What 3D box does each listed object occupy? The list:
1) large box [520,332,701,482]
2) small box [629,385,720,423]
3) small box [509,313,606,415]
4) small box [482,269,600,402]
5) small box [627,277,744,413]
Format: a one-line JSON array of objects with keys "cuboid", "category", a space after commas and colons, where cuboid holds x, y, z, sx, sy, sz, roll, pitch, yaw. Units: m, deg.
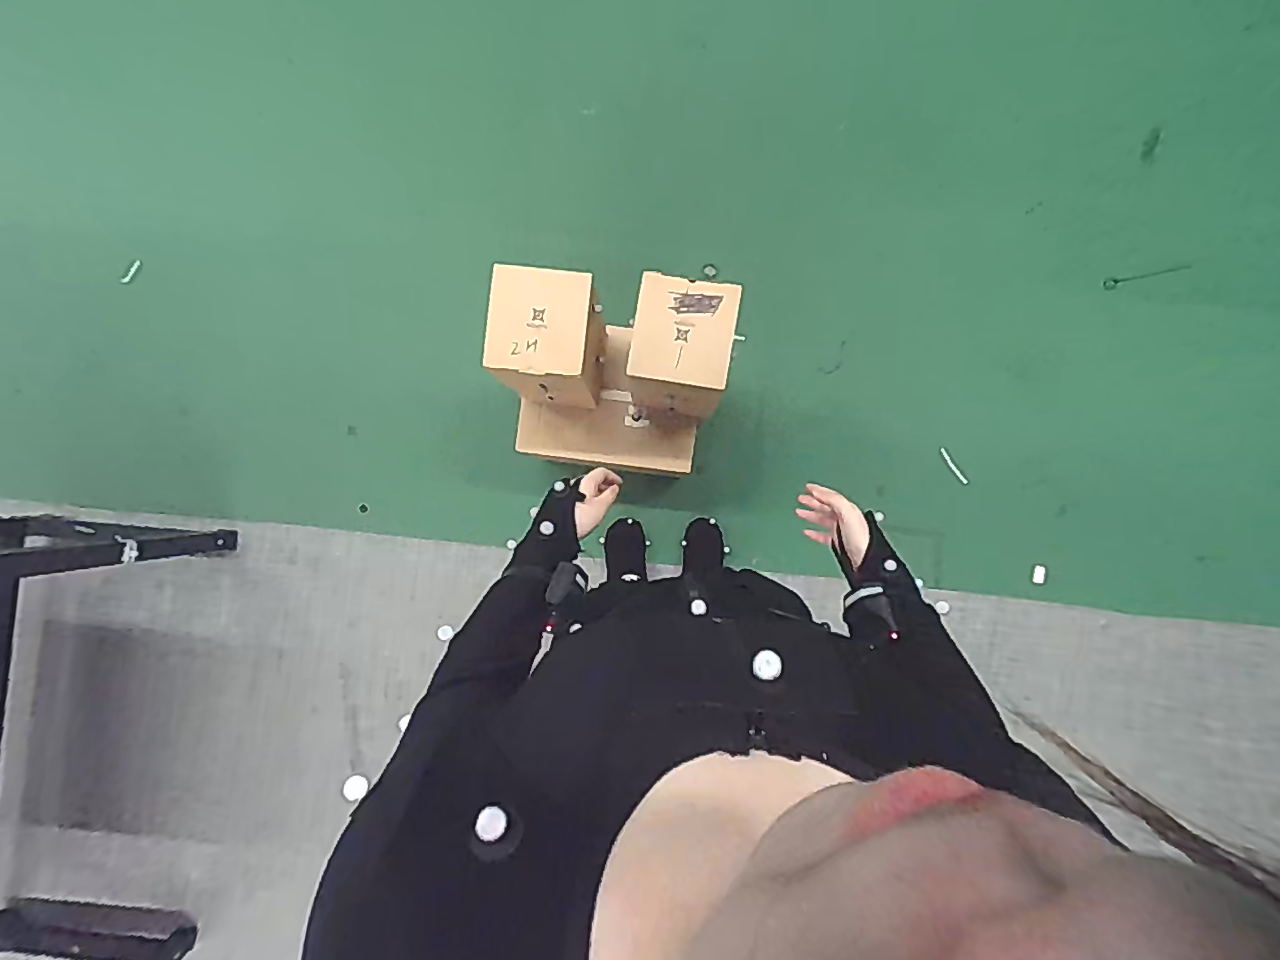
[{"cuboid": [-0.058, -0.172, 1.358, 0.408, 0.320, 0.320, 7, 89, 1], "category": "large box"}, {"cuboid": [0.084, -0.218, 1.112, 0.179, 0.176, 0.168, 11, 88, 4], "category": "small box"}, {"cuboid": [-0.164, -0.243, 1.121, 0.168, 0.176, 0.179, 7, 88, 1], "category": "small box"}, {"cuboid": [-0.165, -0.247, 0.956, 0.168, 0.176, 0.179, 6, 88, 2], "category": "small box"}, {"cuboid": [0.076, -0.227, 0.946, 0.168, 0.176, 0.179, 10, 89, 3], "category": "small box"}]
